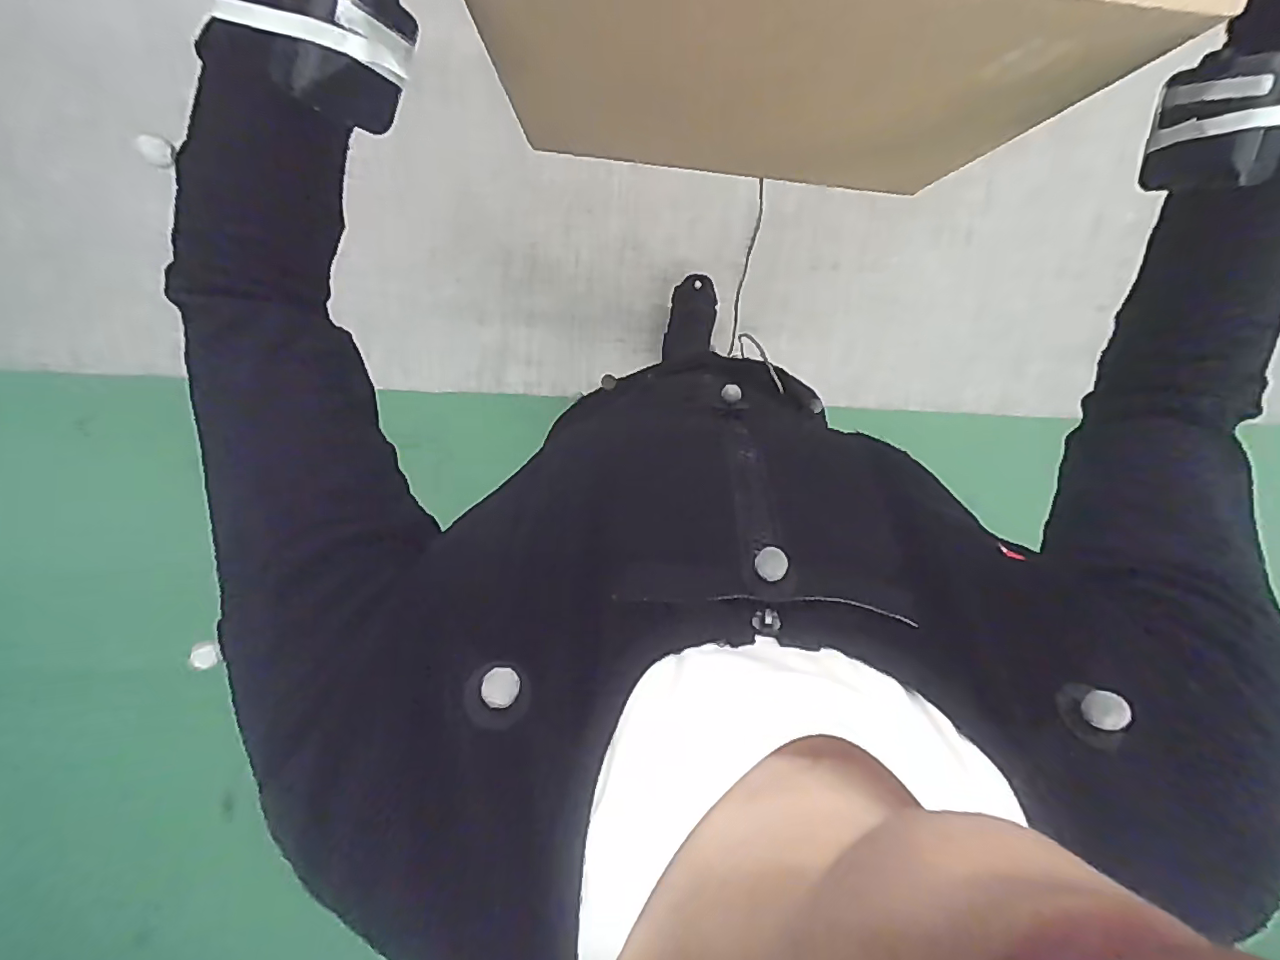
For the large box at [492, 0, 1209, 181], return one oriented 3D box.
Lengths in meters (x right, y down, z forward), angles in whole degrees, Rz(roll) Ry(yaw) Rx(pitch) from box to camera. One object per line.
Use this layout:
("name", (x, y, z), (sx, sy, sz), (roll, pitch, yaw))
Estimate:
("large box", (0.110, -0.441, 0.384), (0.408, 0.320, 0.320), (4, 103, -4))
